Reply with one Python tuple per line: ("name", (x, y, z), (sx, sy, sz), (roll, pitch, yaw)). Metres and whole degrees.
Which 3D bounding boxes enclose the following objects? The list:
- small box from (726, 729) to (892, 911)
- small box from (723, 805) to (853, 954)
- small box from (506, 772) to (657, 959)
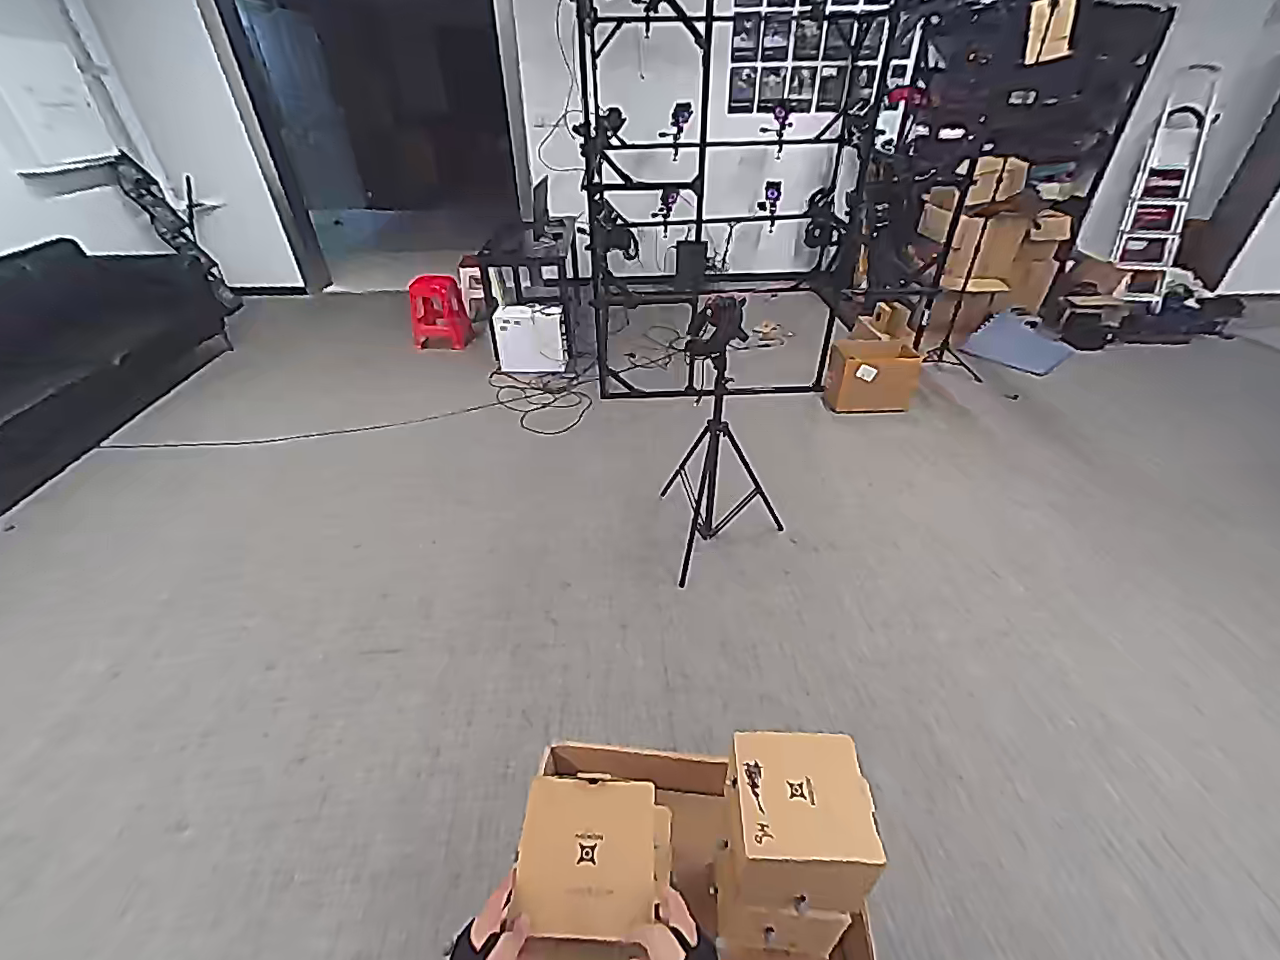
("small box", (0.222, 0.478, 0.762), (0.179, 0.176, 0.168), (1, 35, 3))
("small box", (0.222, 0.612, 0.855), (0.168, 0.176, 0.179), (2, 35, 5))
("small box", (-0.068, 0.508, 0.688), (0.168, 0.176, 0.179), (4, 32, -2))
